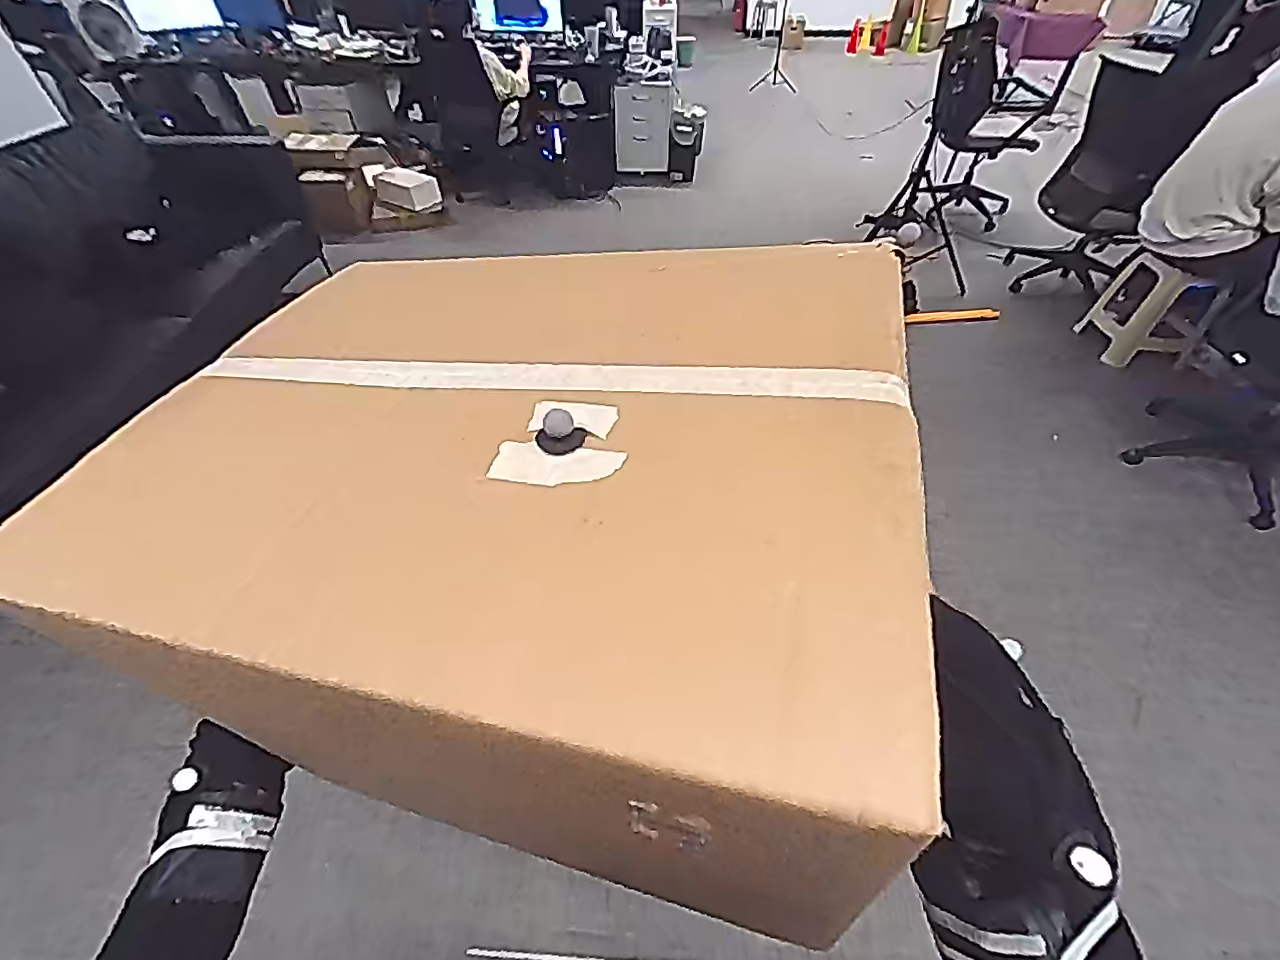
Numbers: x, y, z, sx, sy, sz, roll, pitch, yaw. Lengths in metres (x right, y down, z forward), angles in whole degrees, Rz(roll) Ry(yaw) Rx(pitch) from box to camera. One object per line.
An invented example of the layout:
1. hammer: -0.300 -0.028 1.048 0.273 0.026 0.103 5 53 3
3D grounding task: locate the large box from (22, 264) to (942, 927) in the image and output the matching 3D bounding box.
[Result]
1. large box: -0.047 0.059 0.400 0.408 0.320 0.320 6 47 18
